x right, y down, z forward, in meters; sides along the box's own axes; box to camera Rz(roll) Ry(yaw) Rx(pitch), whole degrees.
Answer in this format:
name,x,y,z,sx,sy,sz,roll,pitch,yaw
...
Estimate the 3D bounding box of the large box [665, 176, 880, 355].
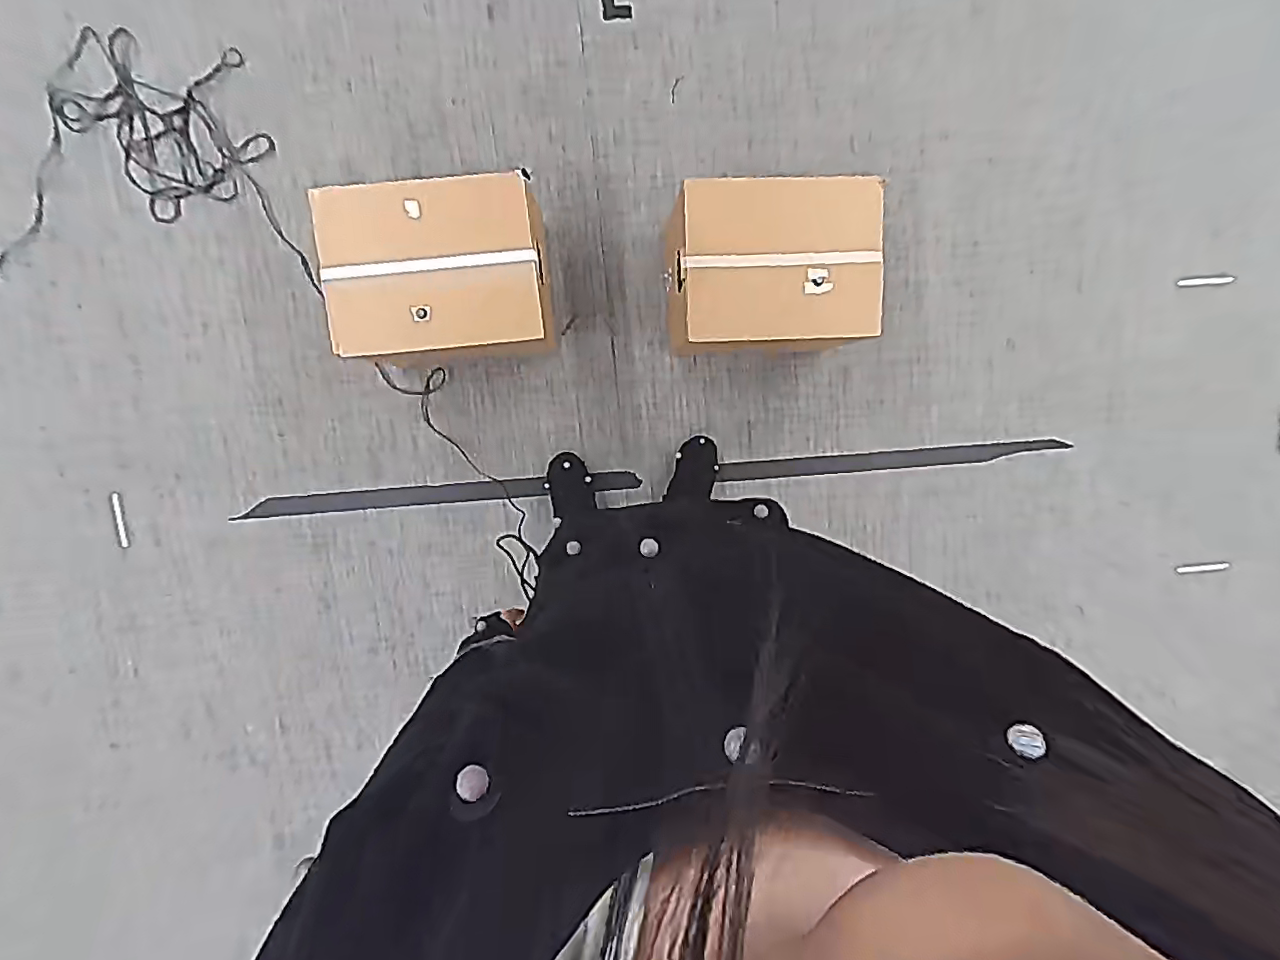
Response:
name,x,y,z,sx,sy,sz,roll,pitch,yaw
large box,0.278,-0.467,1.237,0.408,0.320,0.320,-3,98,-4
